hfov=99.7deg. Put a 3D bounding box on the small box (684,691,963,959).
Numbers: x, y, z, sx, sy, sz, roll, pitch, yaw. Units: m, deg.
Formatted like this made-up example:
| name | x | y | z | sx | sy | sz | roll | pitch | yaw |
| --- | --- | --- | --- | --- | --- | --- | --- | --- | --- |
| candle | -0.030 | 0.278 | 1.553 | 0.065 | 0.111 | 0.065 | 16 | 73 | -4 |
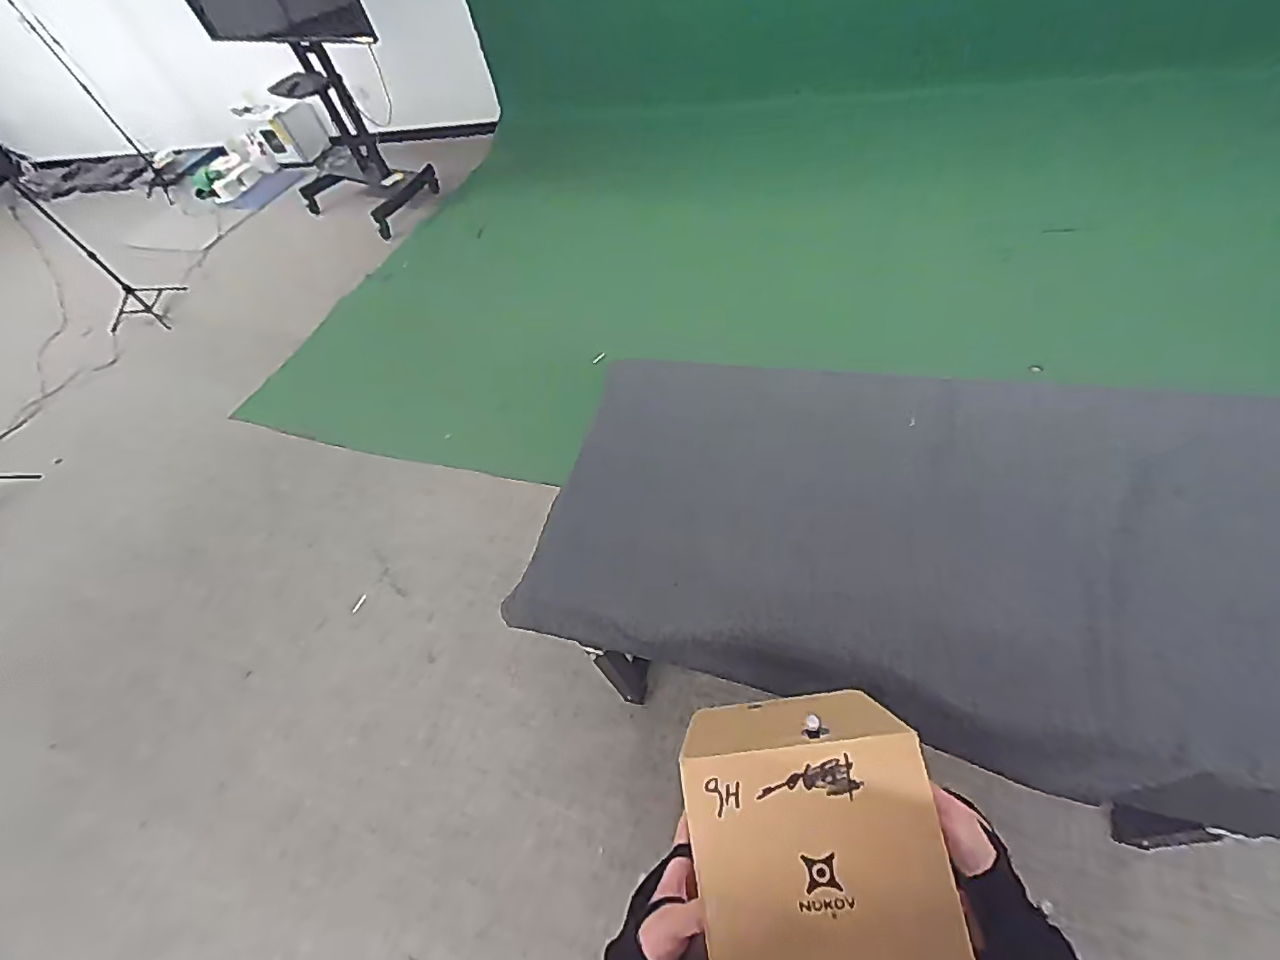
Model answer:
| name | x | y | z | sx | sy | sz | roll | pitch | yaw |
| --- | --- | --- | --- | --- | --- | --- | --- | --- | --- |
| small box | 0.135 | 0.290 | 0.446 | 0.168 | 0.176 | 0.179 | -10 | 78 | 6 |
